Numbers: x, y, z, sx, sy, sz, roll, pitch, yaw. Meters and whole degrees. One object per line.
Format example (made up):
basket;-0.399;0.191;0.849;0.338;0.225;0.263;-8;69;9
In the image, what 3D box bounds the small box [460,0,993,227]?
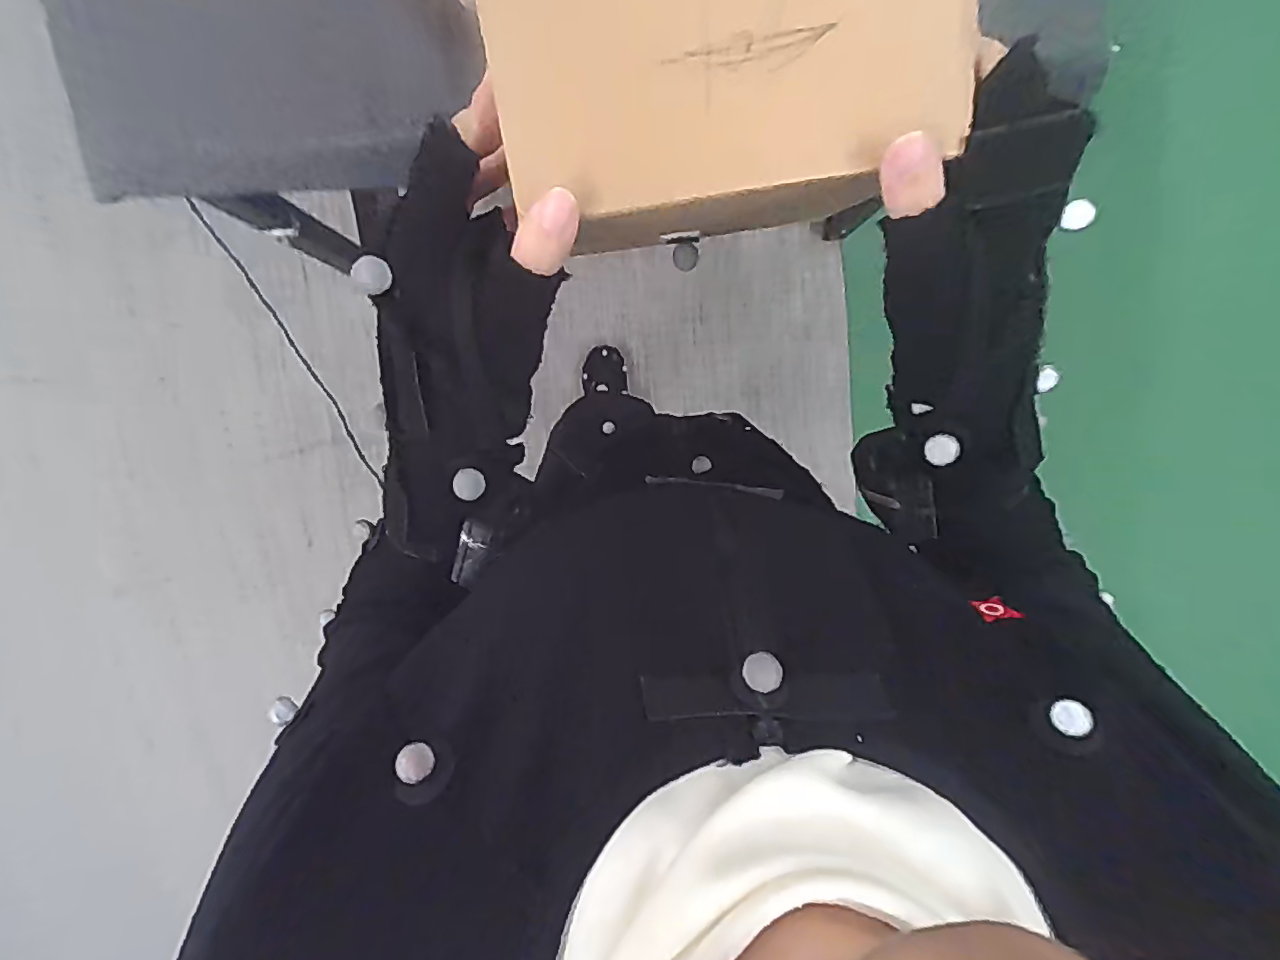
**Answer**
small box;0.019;-0.221;0.226;0.168;0.176;0.179;-7;108;2
